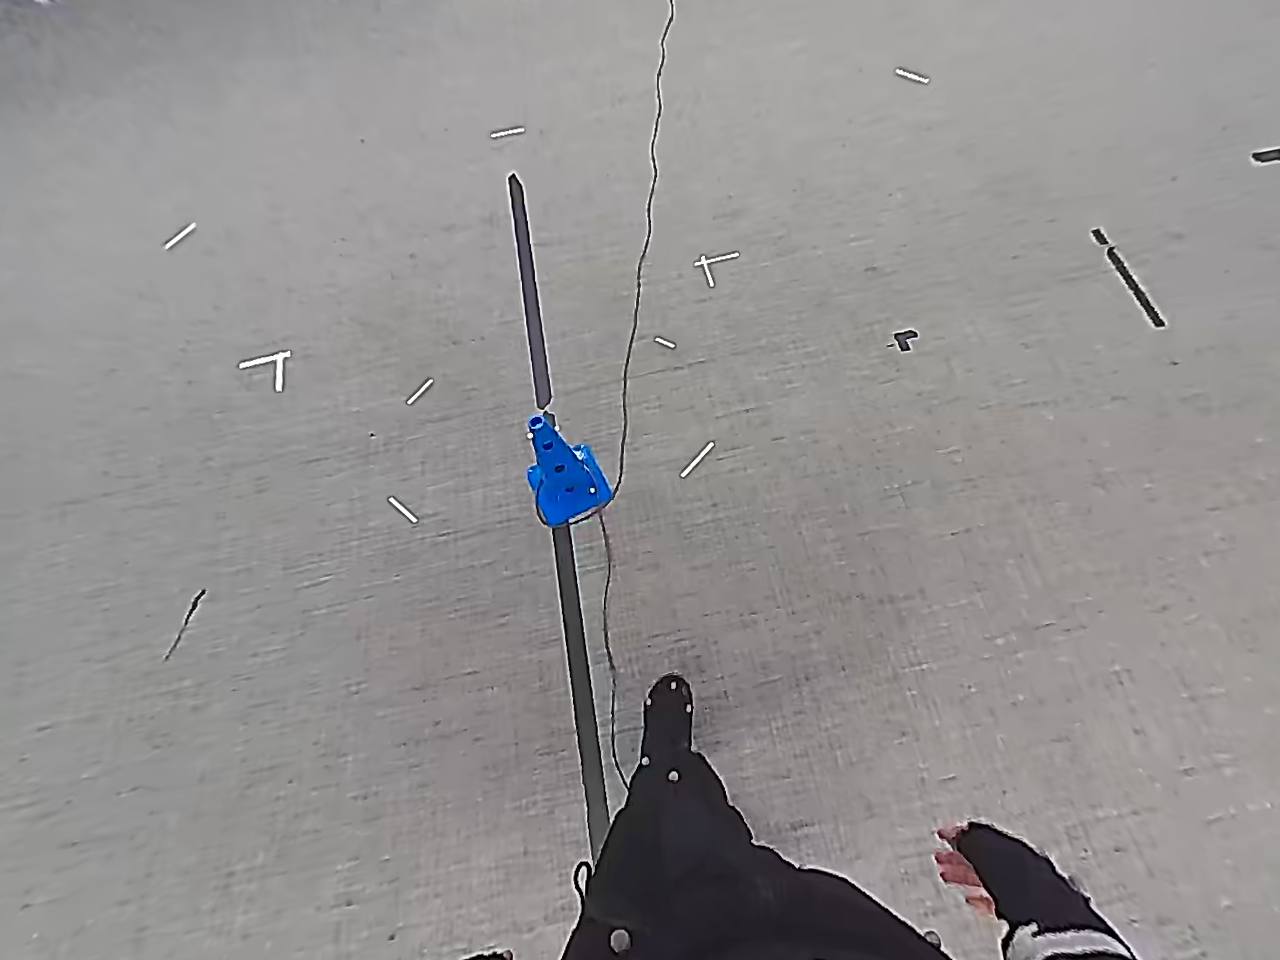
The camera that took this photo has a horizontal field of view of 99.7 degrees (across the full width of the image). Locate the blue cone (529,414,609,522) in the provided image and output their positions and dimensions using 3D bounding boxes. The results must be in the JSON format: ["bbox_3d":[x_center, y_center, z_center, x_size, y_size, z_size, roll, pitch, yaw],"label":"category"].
[{"bbox_3d":[-0.214,-0.064,1.369,0.193,0.380,0.192,-26,67,-8],"label":"blue cone"}]
